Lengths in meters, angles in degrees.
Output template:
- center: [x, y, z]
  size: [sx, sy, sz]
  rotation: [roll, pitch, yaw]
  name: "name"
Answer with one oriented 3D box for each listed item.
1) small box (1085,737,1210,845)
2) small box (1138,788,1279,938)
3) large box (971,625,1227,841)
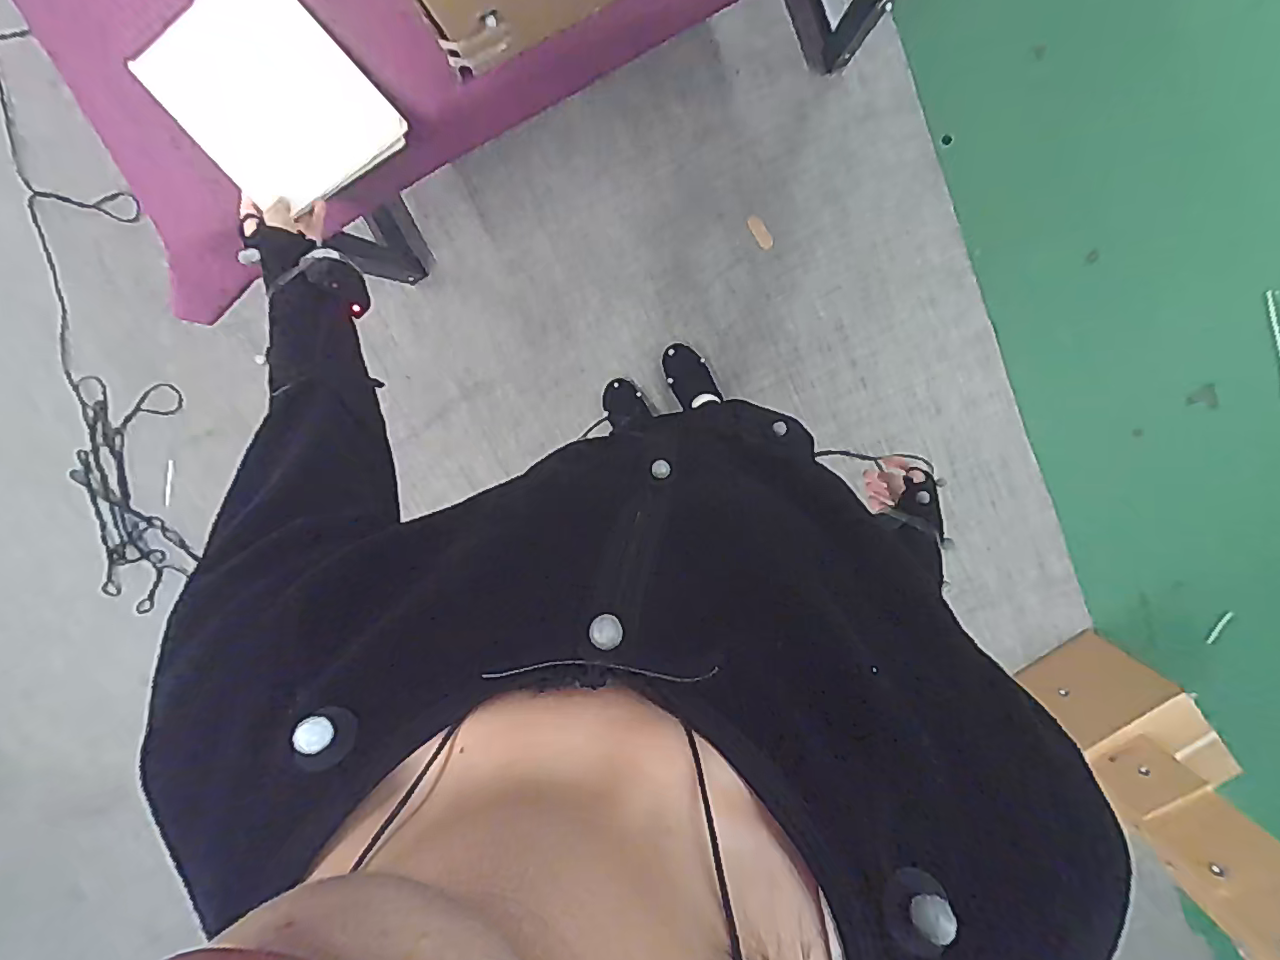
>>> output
- center: [1.239, 0.759, 1.308]
  size: [0.168, 0.176, 0.179]
  rotation: [-34, 102, 9]
  name: "small box"
- center: [1.240, 0.806, 1.154]
  size: [0.179, 0.176, 0.168]
  rotation: [-33, 102, 9]
  name: "small box"
- center: [1.278, 0.705, 1.549]
  size: [0.408, 0.320, 0.320]
  rotation: [-40, 102, 8]
  name: "large box"
